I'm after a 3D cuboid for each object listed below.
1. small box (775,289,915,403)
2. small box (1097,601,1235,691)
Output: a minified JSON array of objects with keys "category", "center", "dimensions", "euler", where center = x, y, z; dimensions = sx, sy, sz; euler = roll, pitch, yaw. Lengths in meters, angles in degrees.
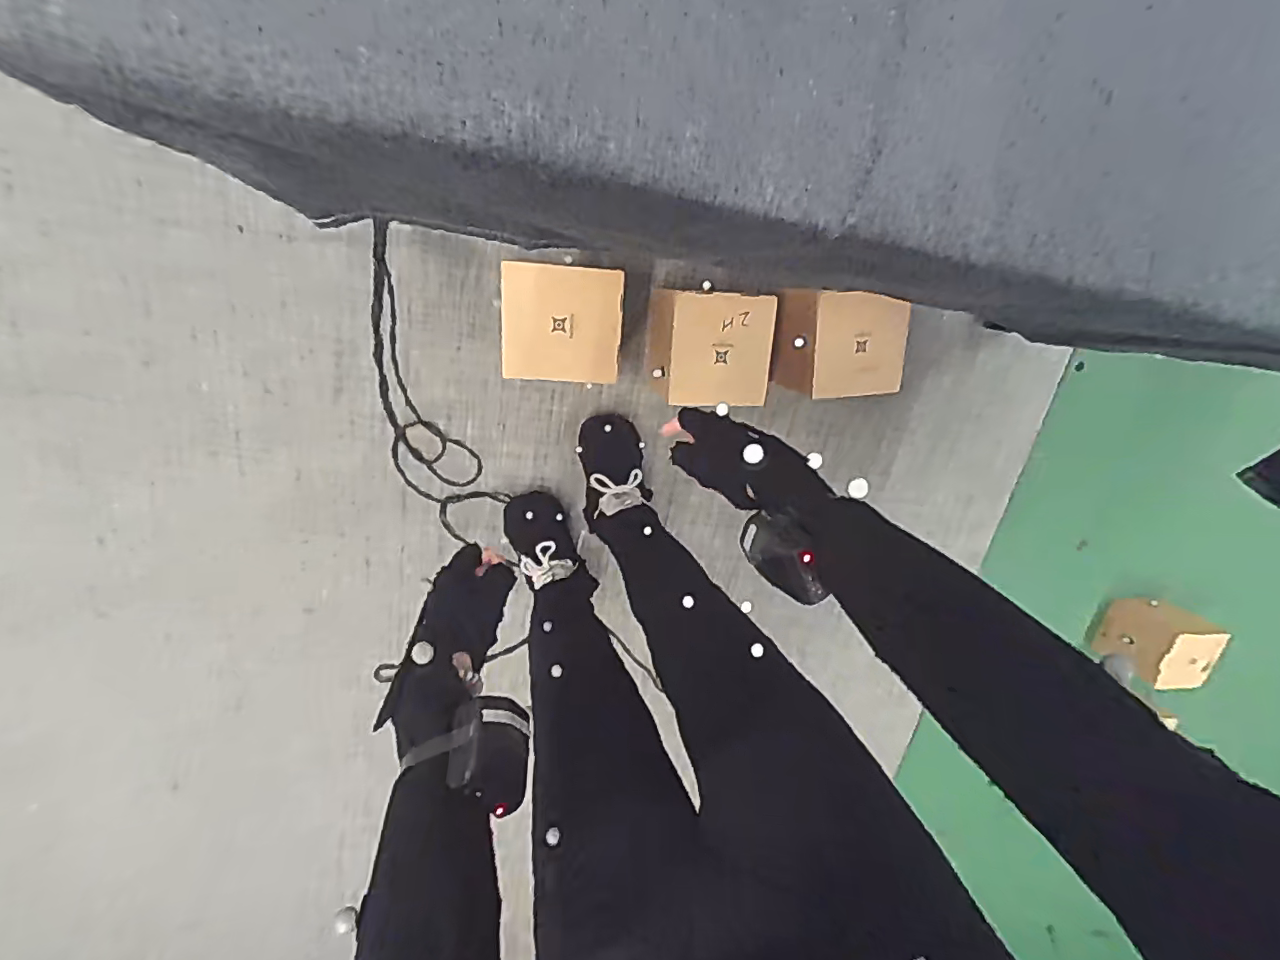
[{"category":"small box","center":[0.349,-0.242,0.954],"dimensions":[0.168,0.176,0.179],"euler":[-6,111,-9]},{"category":"small box","center":[1.372,0.432,1.426],"dimensions":[0.179,0.176,0.168],"euler":[5,109,-12]}]
